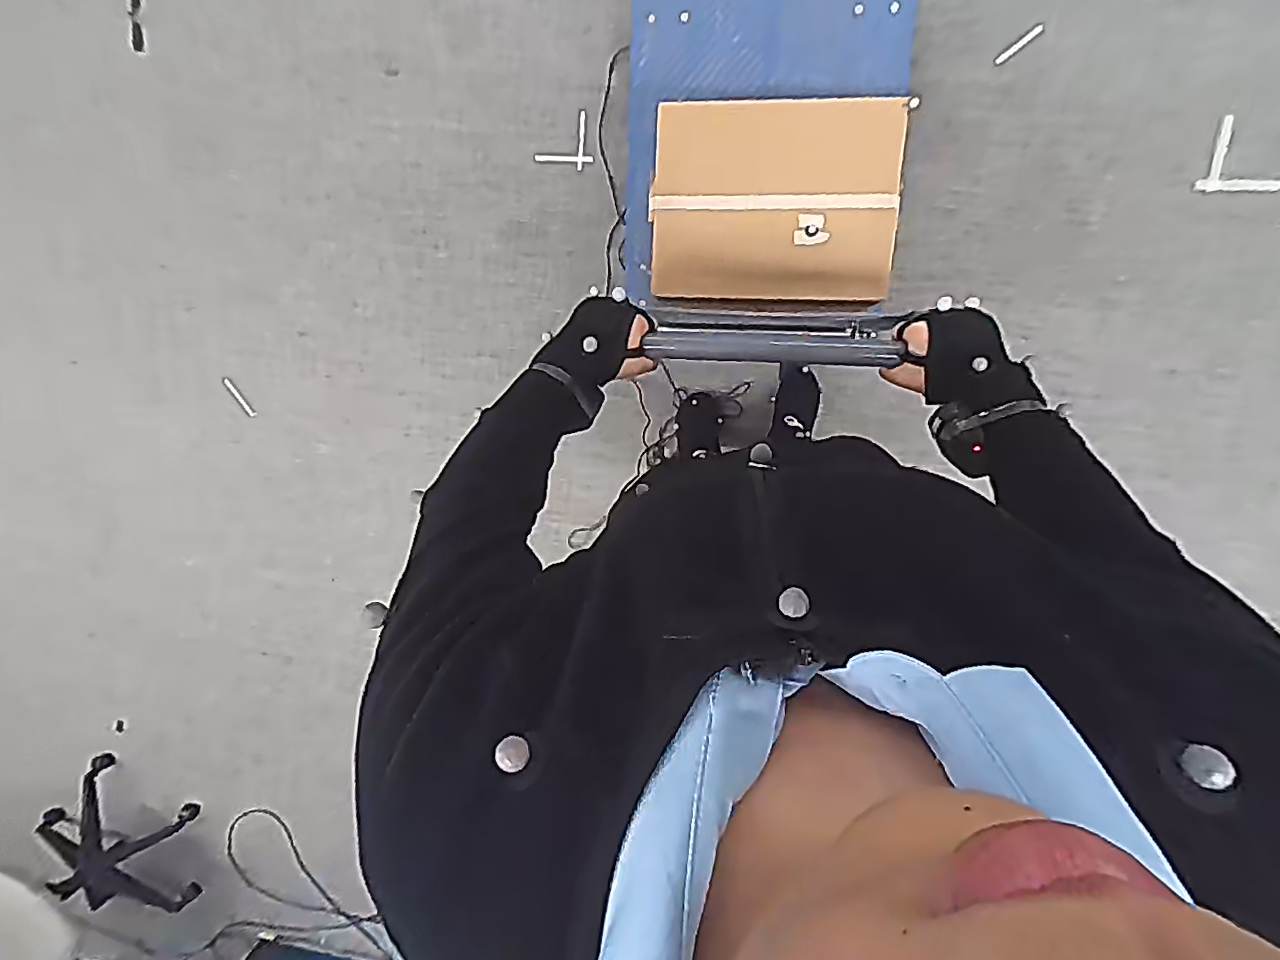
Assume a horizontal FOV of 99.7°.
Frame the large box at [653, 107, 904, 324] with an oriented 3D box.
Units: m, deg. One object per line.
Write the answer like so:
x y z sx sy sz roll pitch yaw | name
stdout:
0.237 -0.479 1.055 0.408 0.320 0.320 3 102 6 | large box
